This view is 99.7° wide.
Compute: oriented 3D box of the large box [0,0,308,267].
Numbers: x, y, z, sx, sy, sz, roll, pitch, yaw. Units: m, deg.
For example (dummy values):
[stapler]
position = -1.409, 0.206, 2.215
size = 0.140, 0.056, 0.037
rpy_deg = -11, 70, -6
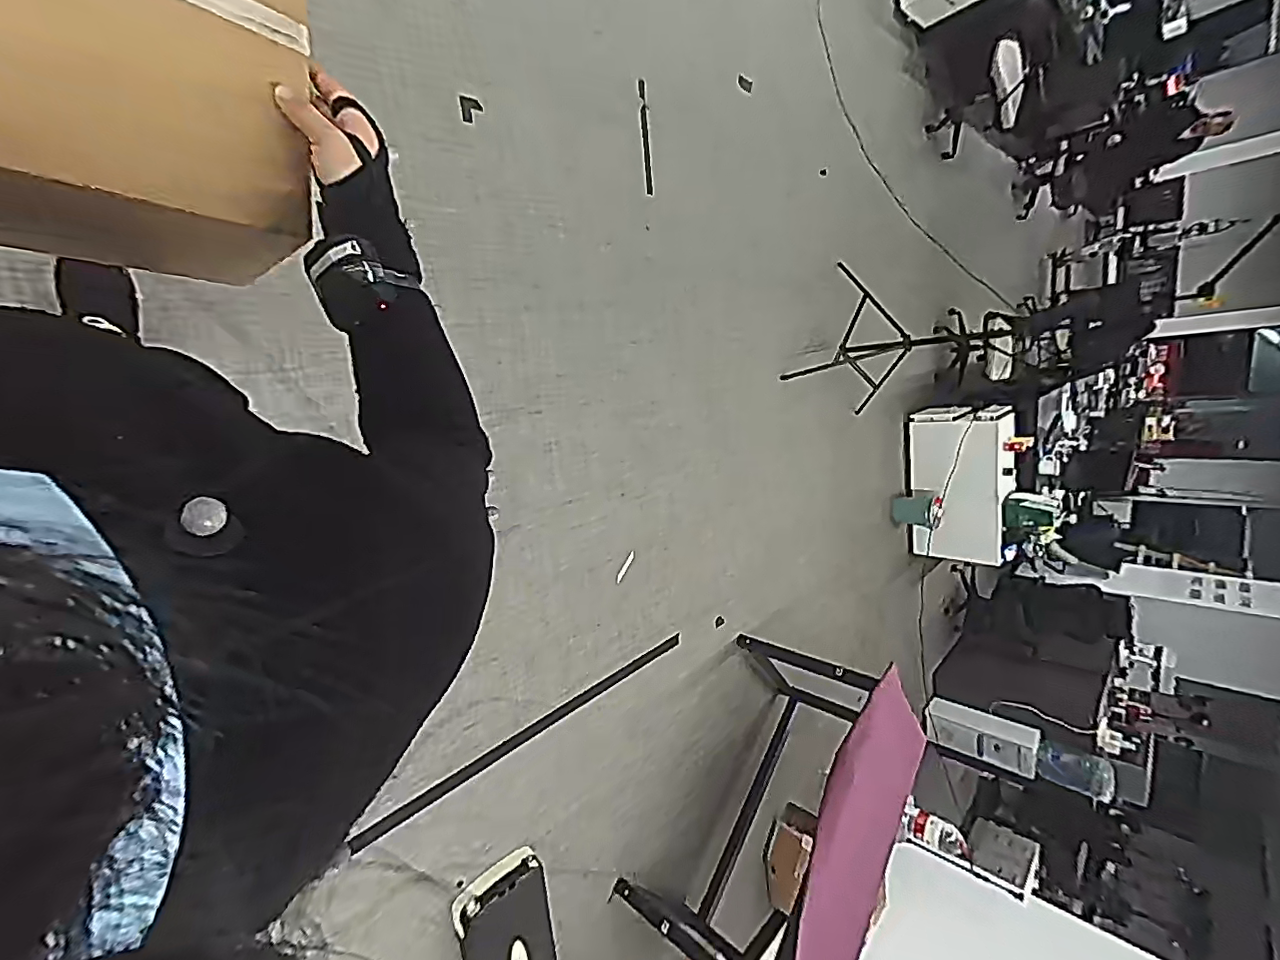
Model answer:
[large box]
position = -0.537, -0.384, 0.431
size = 0.408, 0.320, 0.320
rpy_deg = -5, 99, -45
